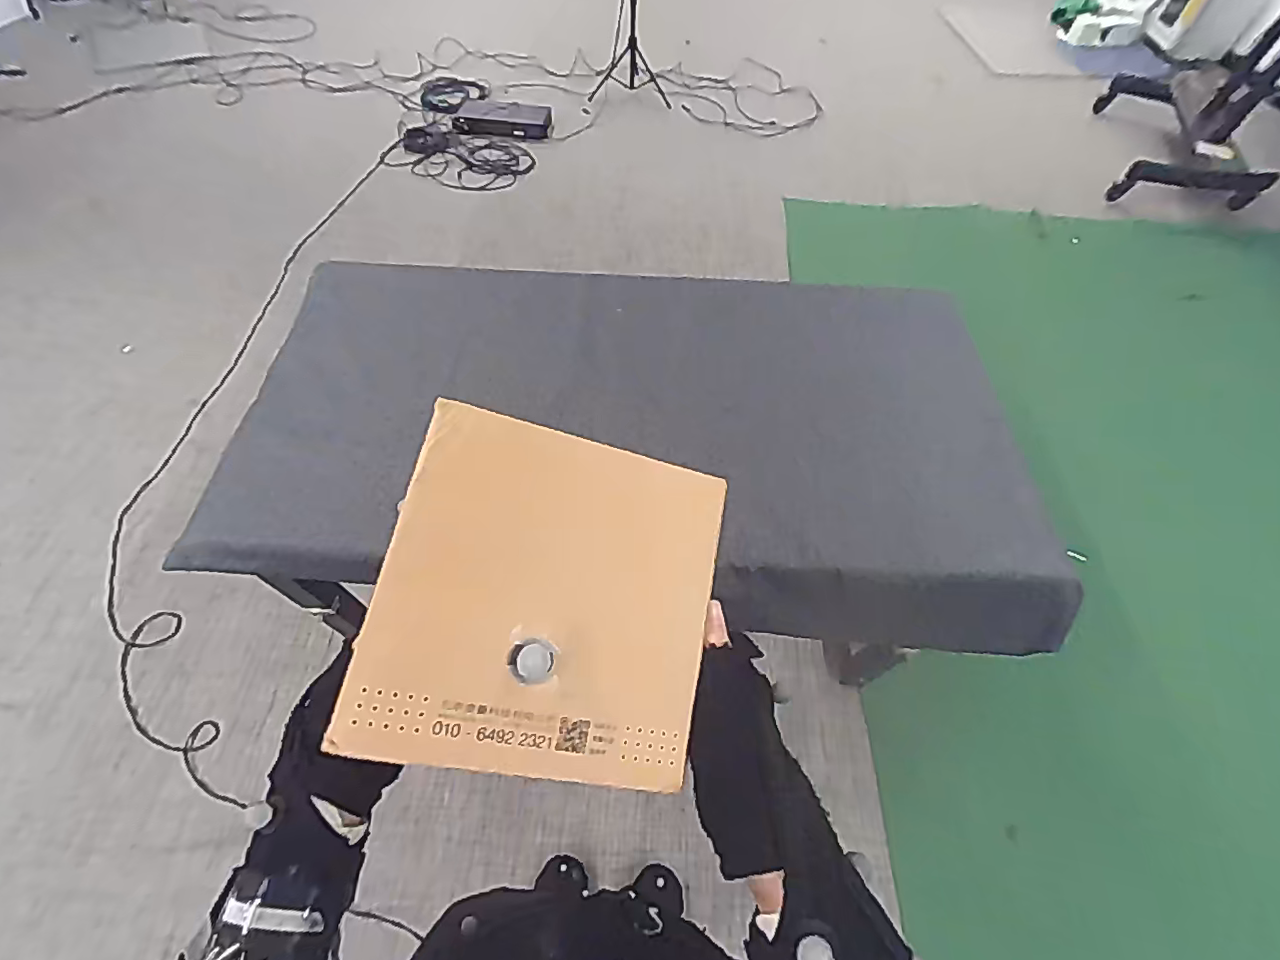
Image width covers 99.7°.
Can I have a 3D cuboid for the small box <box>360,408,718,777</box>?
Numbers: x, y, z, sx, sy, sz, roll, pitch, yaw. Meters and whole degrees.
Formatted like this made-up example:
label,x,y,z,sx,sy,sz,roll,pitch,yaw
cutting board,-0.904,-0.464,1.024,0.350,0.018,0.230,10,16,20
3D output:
label,x,y,z,sx,sy,sz,roll,pitch,yaw
small box,-0.067,0.077,0.364,0.168,0.179,0.176,14,74,-14
